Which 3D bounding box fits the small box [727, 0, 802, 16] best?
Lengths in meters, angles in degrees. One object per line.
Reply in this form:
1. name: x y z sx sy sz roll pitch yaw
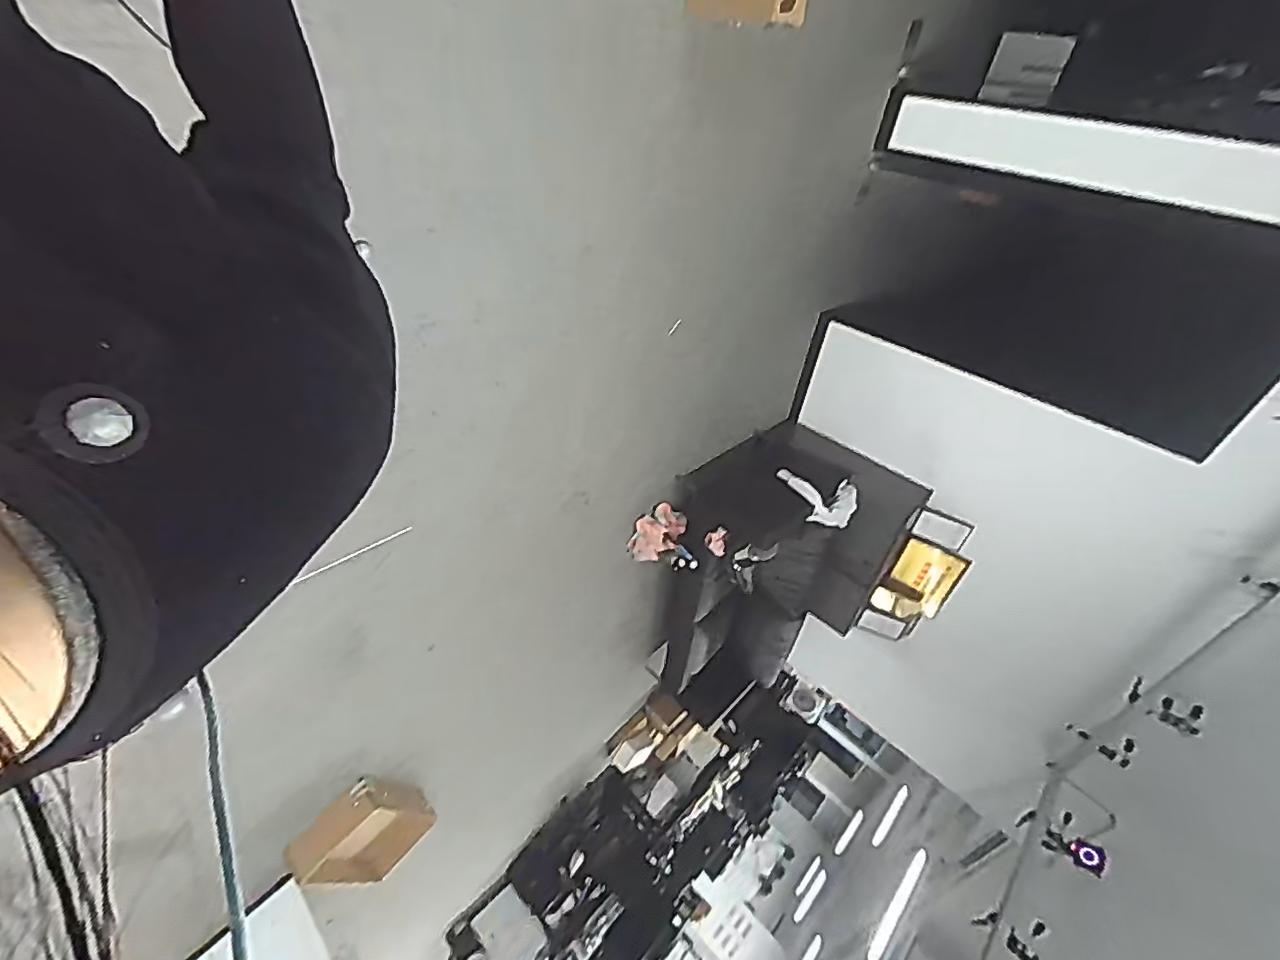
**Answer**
1. small box: 0.367 -1.469 1.566 0.168 0.176 0.179 -31 140 -34
